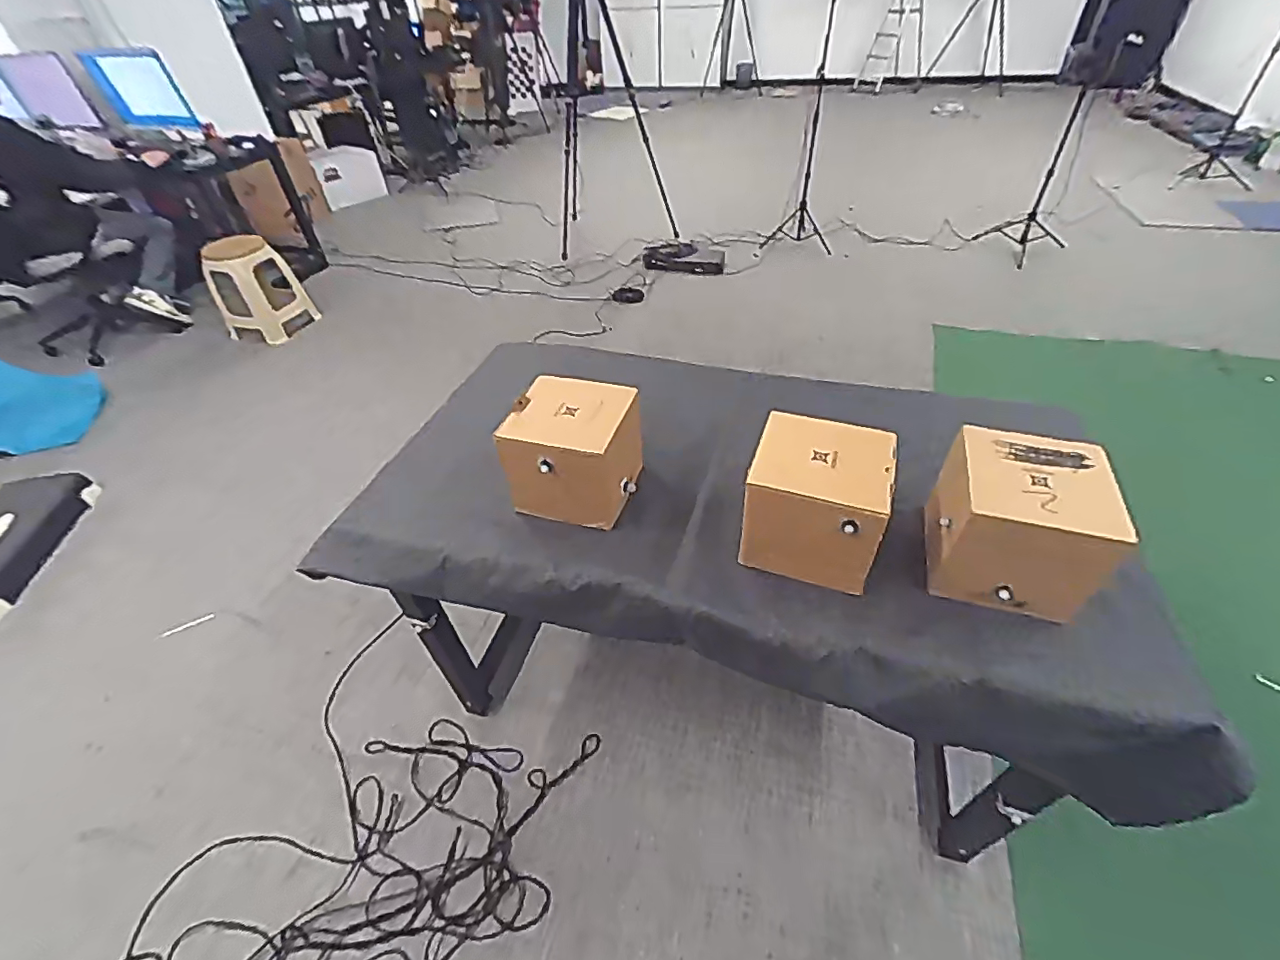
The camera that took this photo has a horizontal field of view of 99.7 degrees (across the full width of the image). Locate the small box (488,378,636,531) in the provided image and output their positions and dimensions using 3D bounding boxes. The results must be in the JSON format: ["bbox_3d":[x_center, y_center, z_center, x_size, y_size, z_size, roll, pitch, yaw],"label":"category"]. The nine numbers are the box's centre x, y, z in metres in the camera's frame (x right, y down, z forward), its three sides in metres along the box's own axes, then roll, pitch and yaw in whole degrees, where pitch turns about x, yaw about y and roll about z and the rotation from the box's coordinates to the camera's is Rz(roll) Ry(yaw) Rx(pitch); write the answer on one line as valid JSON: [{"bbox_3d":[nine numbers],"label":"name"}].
[{"bbox_3d":[-0.113,-0.040,0.870,0.179,0.176,0.168,11,45,13],"label":"small box"}]

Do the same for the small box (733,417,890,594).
[{"bbox_3d":[0.238,0.037,0.769,0.179,0.176,0.168,14,45,16],"label":"small box"}]
